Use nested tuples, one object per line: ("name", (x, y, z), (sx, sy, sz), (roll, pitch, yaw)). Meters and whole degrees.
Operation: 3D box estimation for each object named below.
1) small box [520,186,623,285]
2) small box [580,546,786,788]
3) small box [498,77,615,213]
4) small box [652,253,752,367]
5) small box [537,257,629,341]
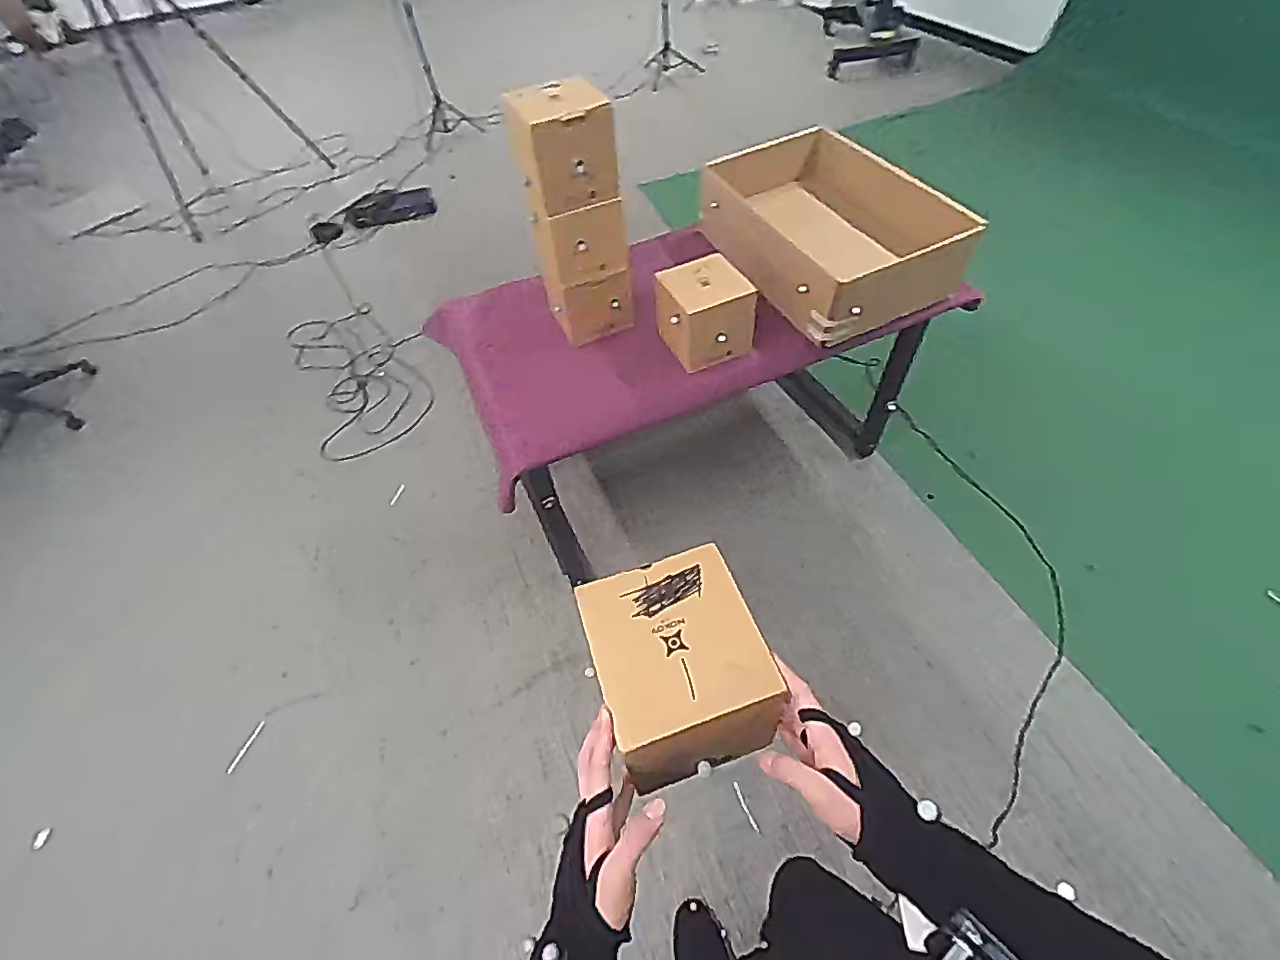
("small box", (-0.147, -0.556, 1.201), (0.168, 0.176, 0.179), (-23, 55, -12))
("small box", (0.041, 0.209, 0.603), (0.168, 0.176, 0.179), (-17, 49, -7))
("small box", (-0.159, -0.656, 1.071), (0.168, 0.176, 0.179), (-23, 56, -12))
("small box", (0.140, -0.382, 1.244), (0.168, 0.176, 0.179), (-22, 55, -11))
("small box", (-0.136, -0.465, 1.335), (0.168, 0.176, 0.179), (-22, 55, -12))
